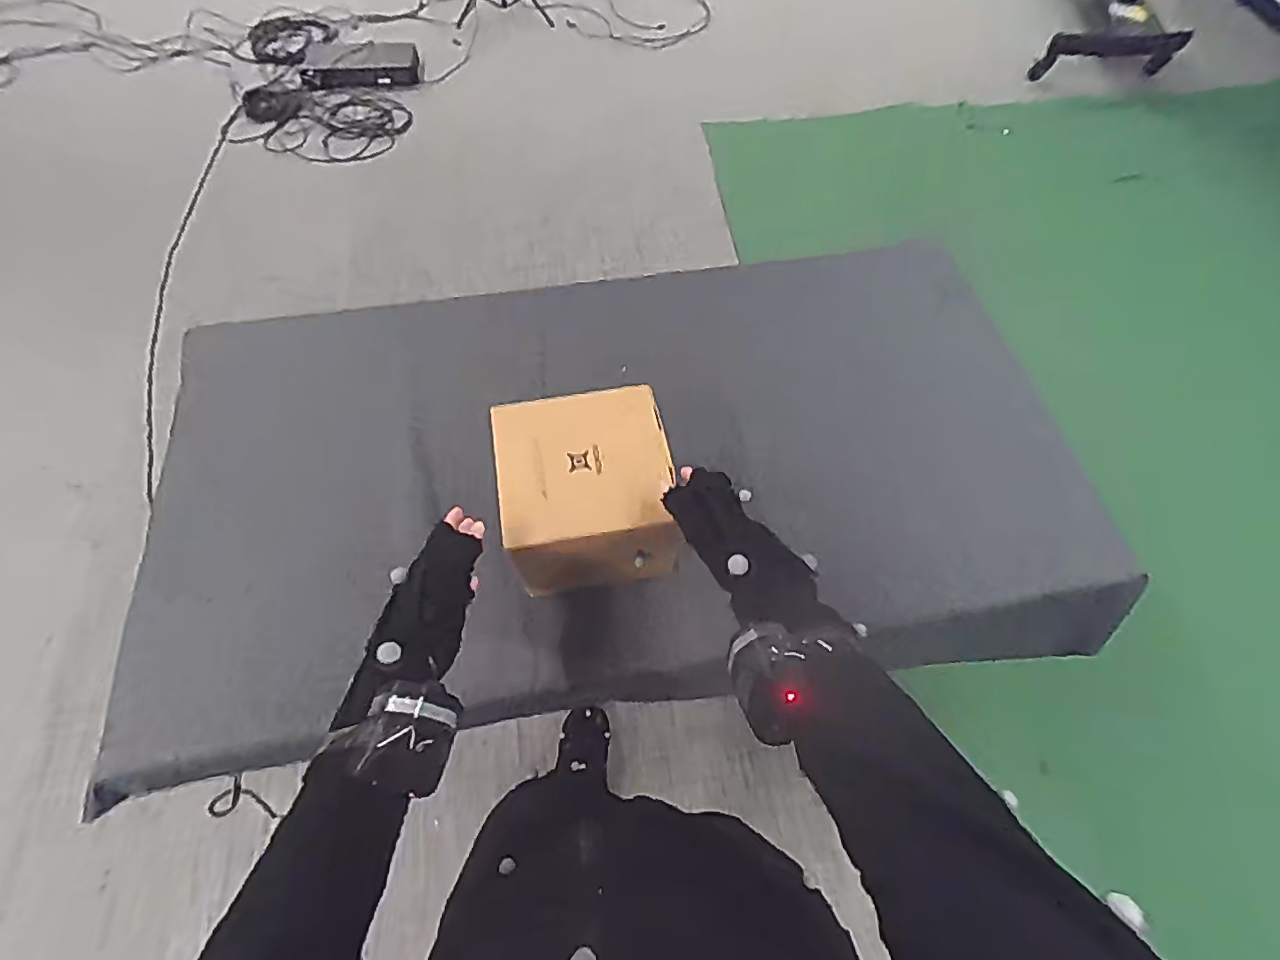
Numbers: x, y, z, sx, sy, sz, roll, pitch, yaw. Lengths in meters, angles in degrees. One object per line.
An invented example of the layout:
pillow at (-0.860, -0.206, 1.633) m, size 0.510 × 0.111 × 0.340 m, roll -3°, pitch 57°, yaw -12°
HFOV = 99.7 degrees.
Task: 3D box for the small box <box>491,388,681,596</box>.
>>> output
small box at (-0.061, 0.021, 0.623) m, size 0.179 × 0.176 × 0.168 m, roll -11°, pitch 63°, yaw -6°
